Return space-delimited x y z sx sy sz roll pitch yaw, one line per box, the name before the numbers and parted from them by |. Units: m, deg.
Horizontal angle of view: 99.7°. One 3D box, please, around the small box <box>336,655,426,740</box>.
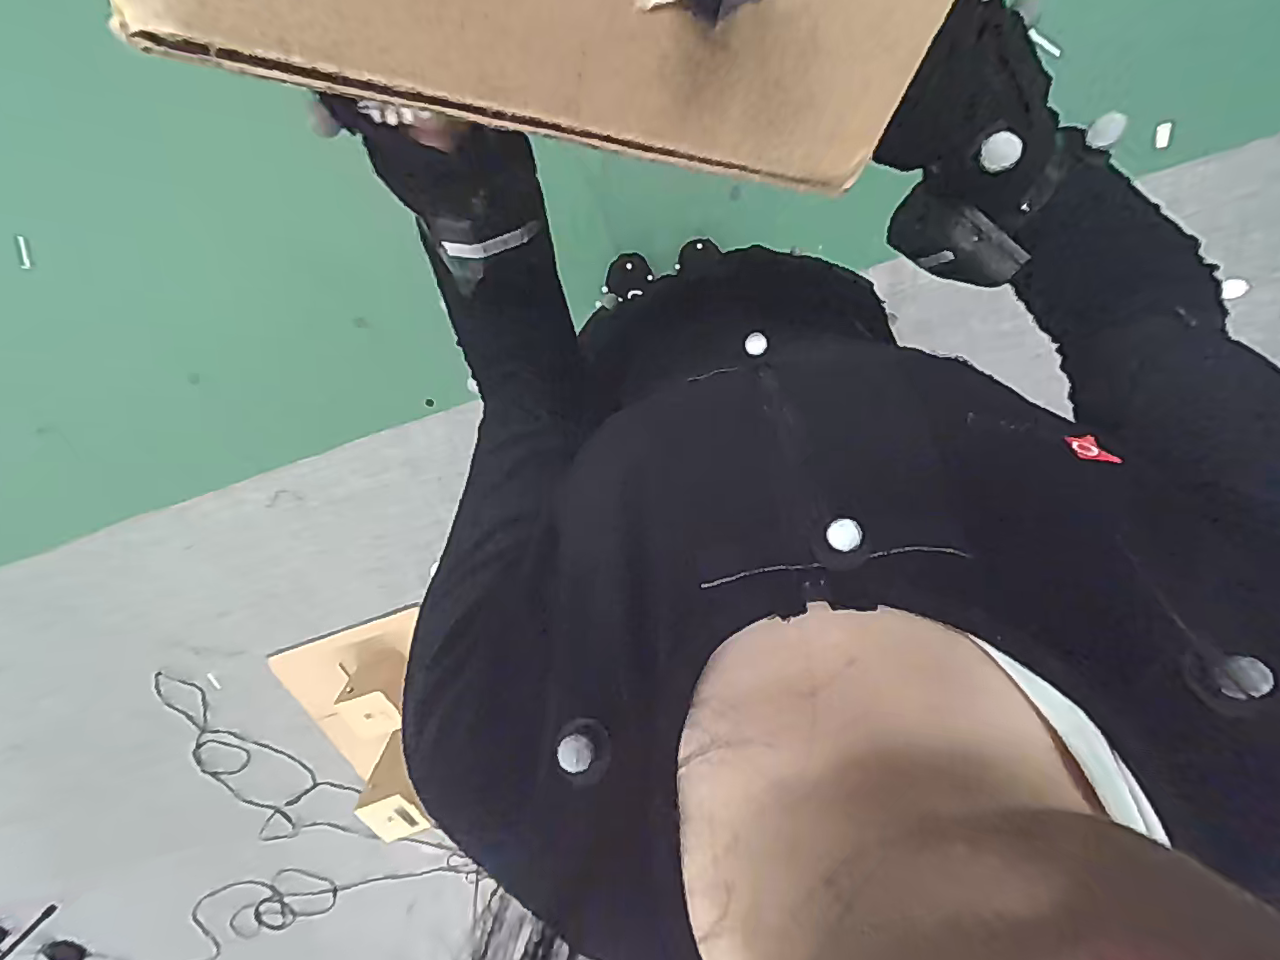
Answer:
small box | -0.831 0.701 1.754 0.179 0.176 0.168 -20 113 8
